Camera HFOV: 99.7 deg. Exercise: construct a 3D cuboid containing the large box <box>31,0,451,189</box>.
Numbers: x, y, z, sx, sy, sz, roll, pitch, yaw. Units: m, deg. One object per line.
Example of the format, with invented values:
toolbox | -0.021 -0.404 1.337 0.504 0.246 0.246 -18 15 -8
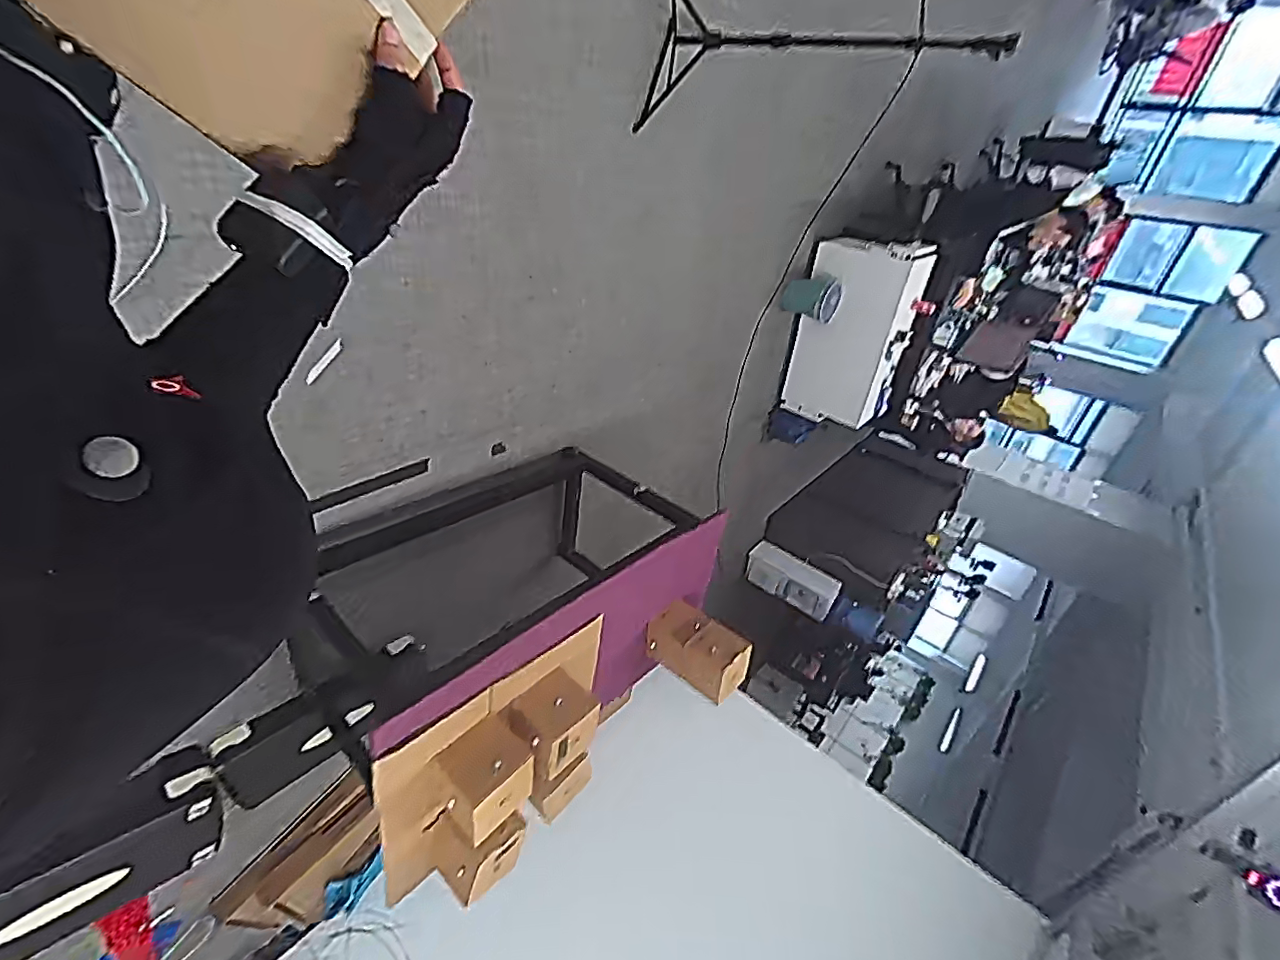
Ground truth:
large box | -0.359 -0.492 0.333 0.320 0.320 0.408 -47 152 6
